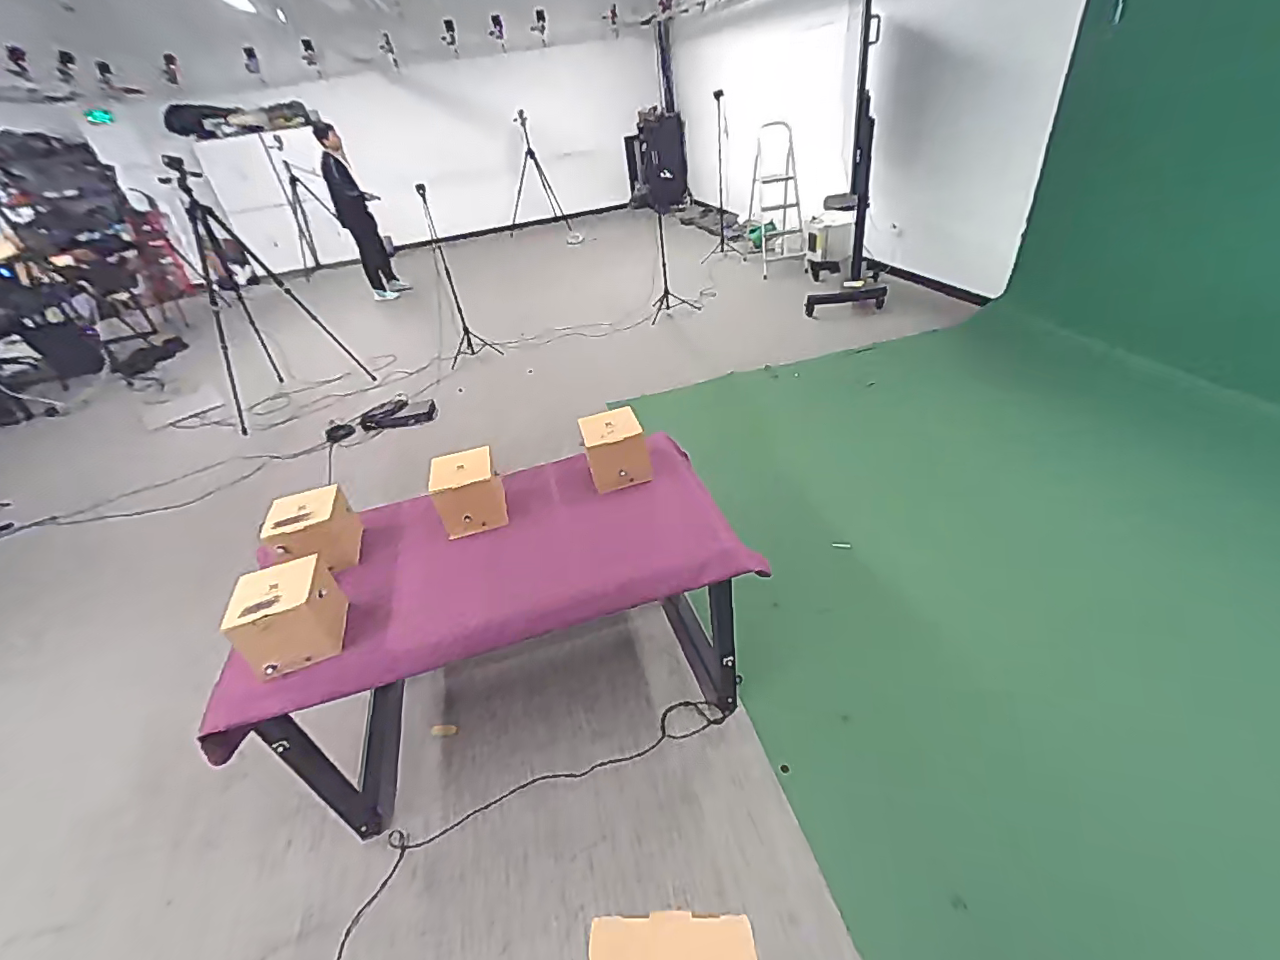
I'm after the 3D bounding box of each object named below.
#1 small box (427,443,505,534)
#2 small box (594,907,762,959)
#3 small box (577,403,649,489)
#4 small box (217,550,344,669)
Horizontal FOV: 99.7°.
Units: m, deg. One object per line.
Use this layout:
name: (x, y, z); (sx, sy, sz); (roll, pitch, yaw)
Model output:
small box: (-0.483, 0.023, 1.515); (0.168, 0.176, 0.179); (-14, 37, -9)
small box: (0.035, 0.553, 0.518); (0.168, 0.176, 0.179); (0, 28, 0)
small box: (-0.079, -0.099, 1.595); (0.168, 0.176, 0.179); (-16, 37, -6)
small box: (-0.780, 0.292, 1.197); (0.168, 0.176, 0.179); (-17, 35, -13)
